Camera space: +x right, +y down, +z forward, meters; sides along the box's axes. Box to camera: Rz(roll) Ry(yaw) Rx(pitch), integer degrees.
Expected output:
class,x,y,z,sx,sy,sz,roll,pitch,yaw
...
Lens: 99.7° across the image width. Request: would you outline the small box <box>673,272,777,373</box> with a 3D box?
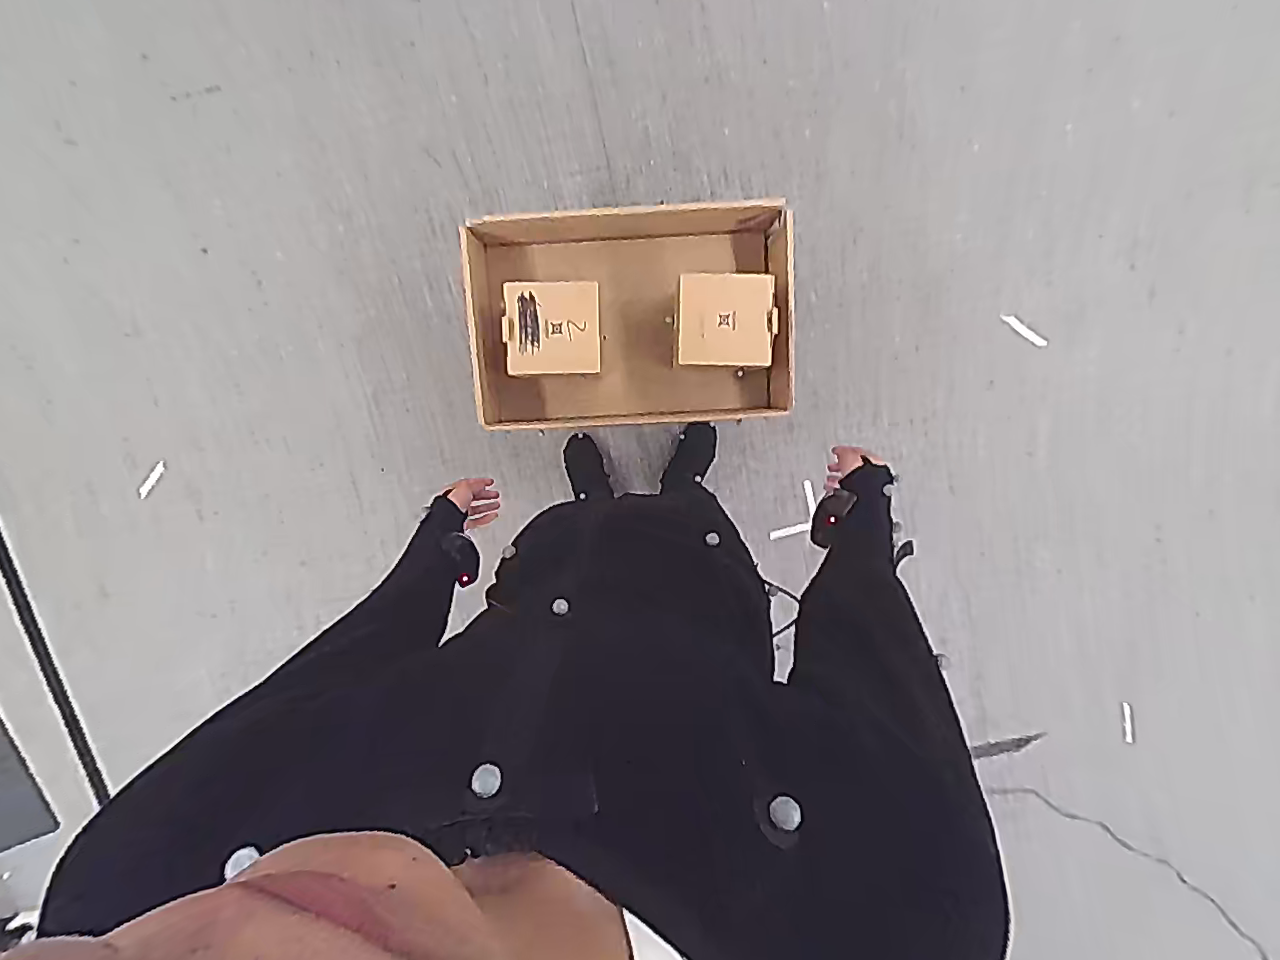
class,x,y,z,sx,sy,sz,roll,pitch,yaw
small box,0.160,-0.304,1.068,0.179,0.176,0.168,1,97,0
